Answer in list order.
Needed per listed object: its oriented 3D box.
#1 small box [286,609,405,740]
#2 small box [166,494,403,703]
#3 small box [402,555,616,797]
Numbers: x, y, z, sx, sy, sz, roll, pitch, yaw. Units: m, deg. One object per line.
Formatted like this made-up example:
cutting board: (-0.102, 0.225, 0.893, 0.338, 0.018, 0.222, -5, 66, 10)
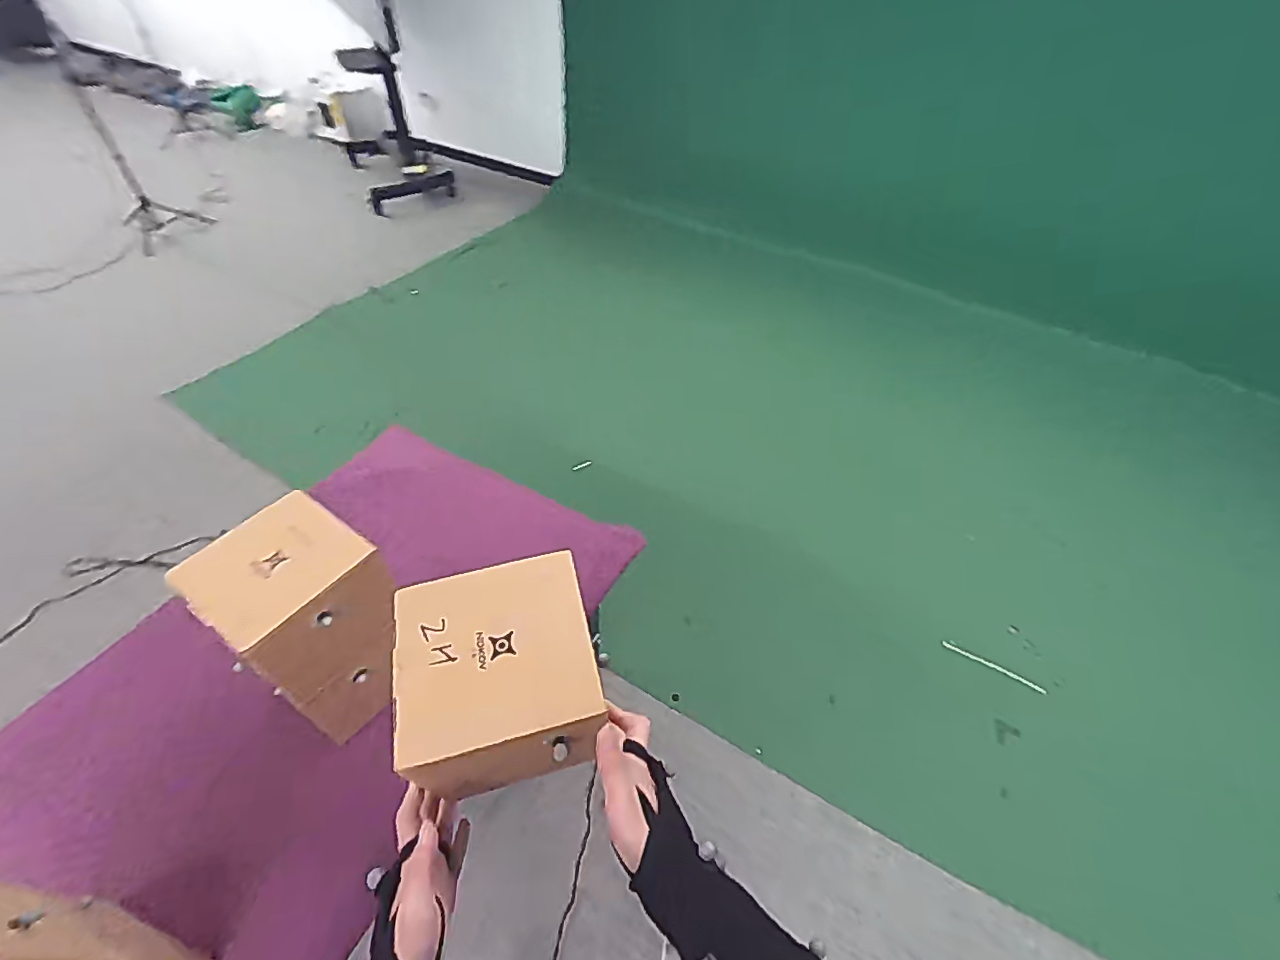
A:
small box: (-0.462, 0.265, 0.839, 0.168, 0.176, 0.179, 30, 52, 21)
small box: (-0.450, 0.158, 0.716, 0.168, 0.176, 0.179, 30, 52, 19)
small box: (-0.125, 0.202, 0.551, 0.179, 0.176, 0.168, -12, 53, -9)
